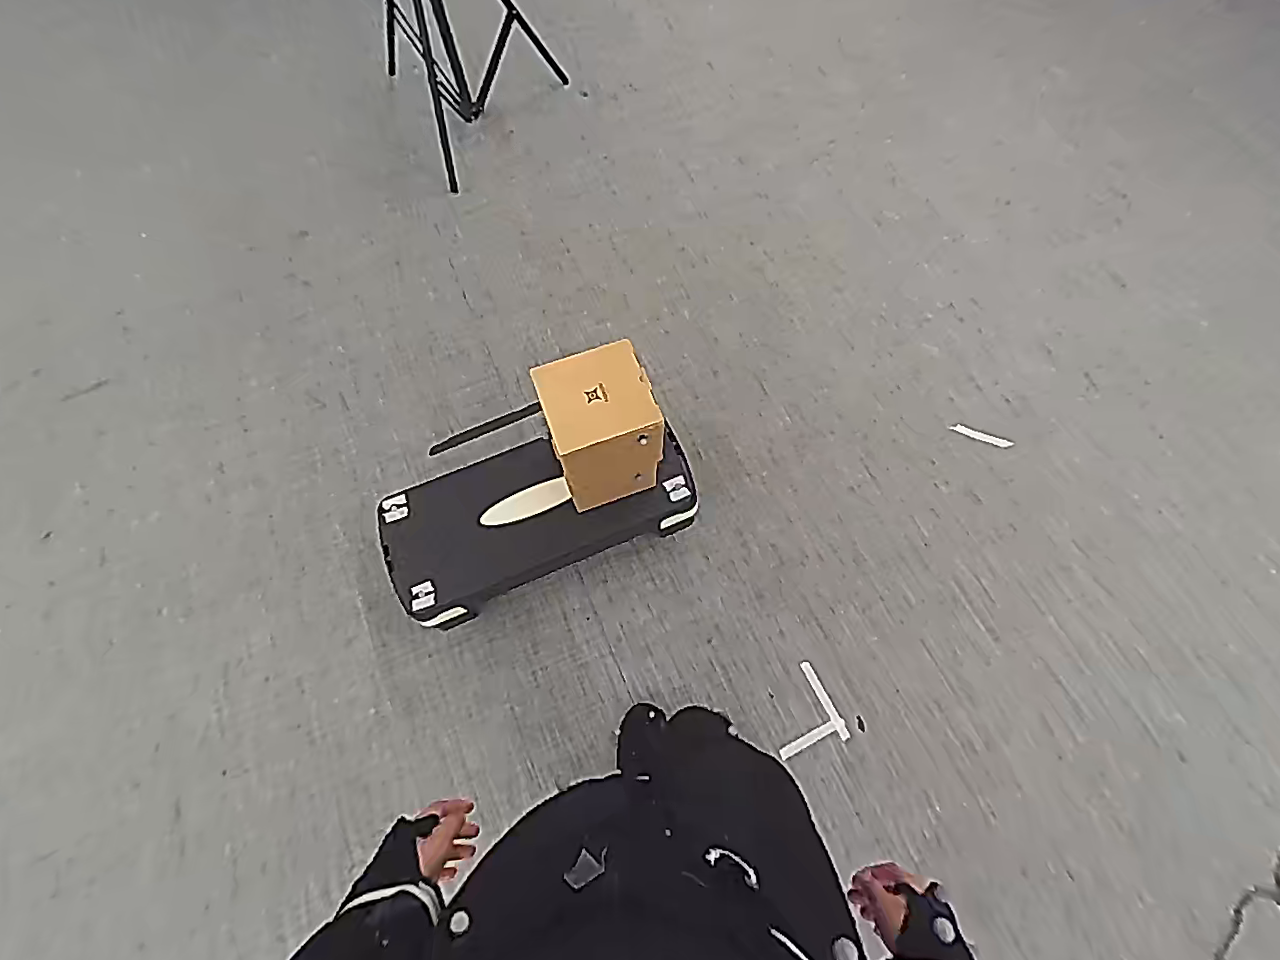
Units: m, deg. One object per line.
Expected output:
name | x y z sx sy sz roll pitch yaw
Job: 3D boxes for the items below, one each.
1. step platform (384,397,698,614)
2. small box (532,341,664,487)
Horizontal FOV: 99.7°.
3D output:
step platform | -0.213 0.048 1.241 0.684 0.204 0.286 -23 71 -7
small box | -0.068 -0.106 0.938 0.179 0.176 0.168 -19 71 -8
